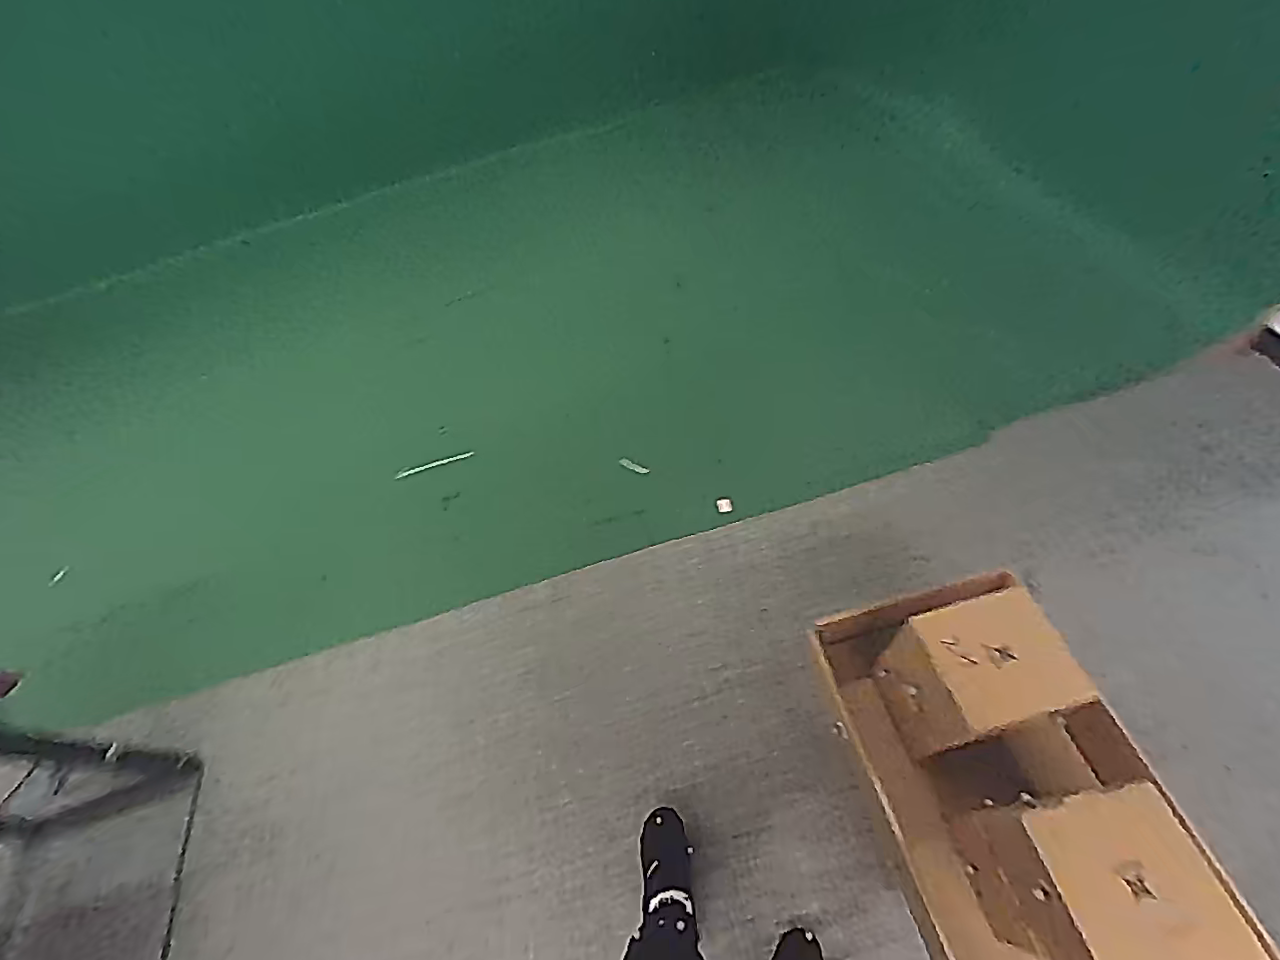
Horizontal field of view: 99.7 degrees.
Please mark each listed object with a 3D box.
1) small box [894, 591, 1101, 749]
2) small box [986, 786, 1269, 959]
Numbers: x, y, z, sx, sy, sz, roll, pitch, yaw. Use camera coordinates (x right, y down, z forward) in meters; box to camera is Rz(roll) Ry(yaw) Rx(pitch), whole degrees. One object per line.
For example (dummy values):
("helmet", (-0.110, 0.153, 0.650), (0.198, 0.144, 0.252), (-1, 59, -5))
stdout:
("small box", (0.521, 0.292, 0.821), (0.179, 0.176, 0.168), (-16, 55, 1))
("small box", (0.576, 0.502, 0.674), (0.168, 0.176, 0.179), (-15, 56, 3))
